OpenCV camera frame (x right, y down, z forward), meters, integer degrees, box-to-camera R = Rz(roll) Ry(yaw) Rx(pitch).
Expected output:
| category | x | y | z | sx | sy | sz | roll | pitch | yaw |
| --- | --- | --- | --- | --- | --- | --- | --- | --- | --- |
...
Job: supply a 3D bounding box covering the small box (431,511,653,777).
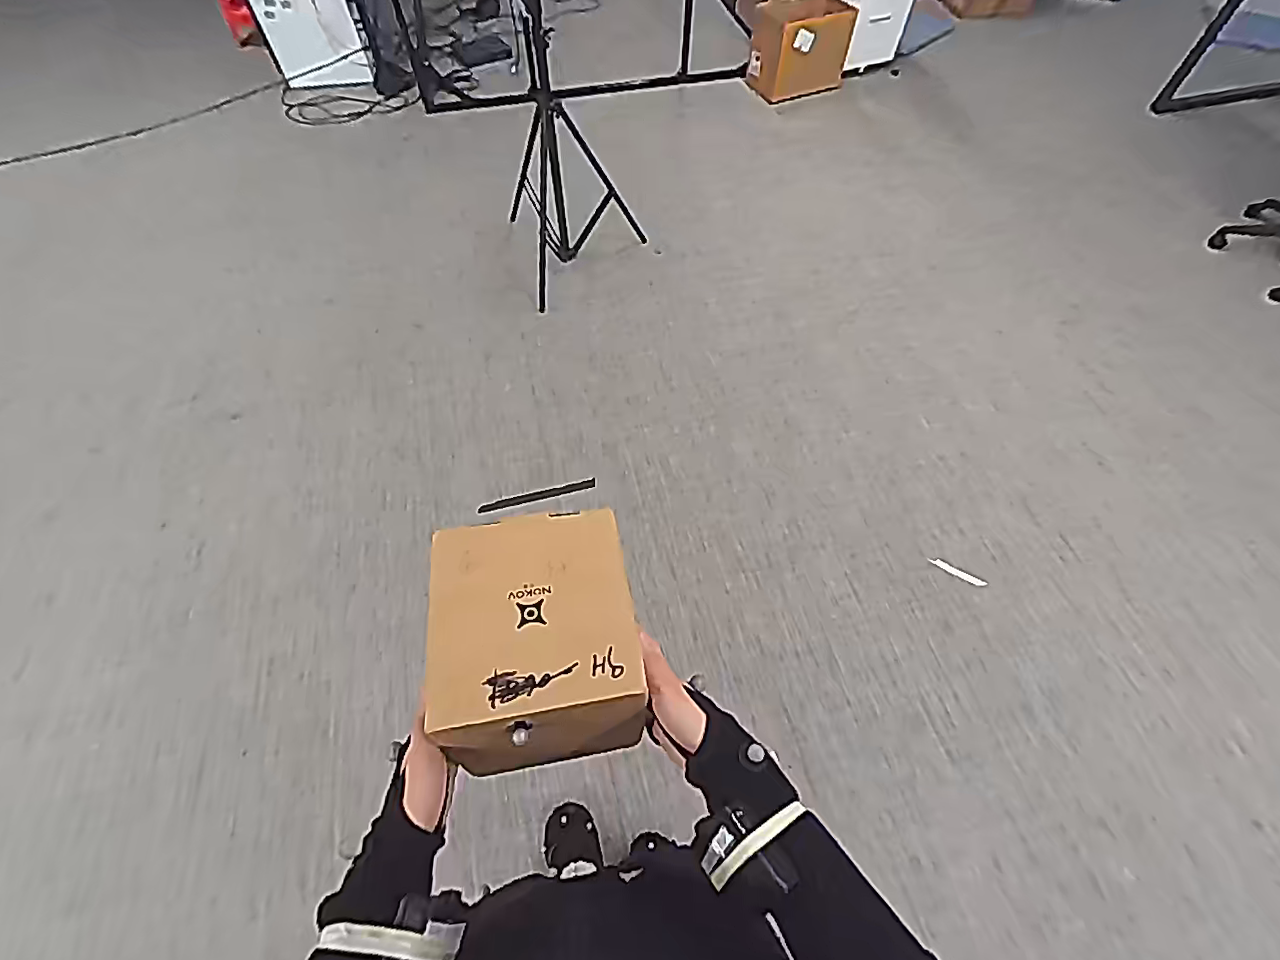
| category | x | y | z | sx | sy | sz | roll | pitch | yaw |
| --- | --- | --- | --- | --- | --- | --- | --- | --- | --- |
| small box | -0.088 | 0.154 | 0.510 | 0.168 | 0.176 | 0.179 | -7 | 52 | -8 |
